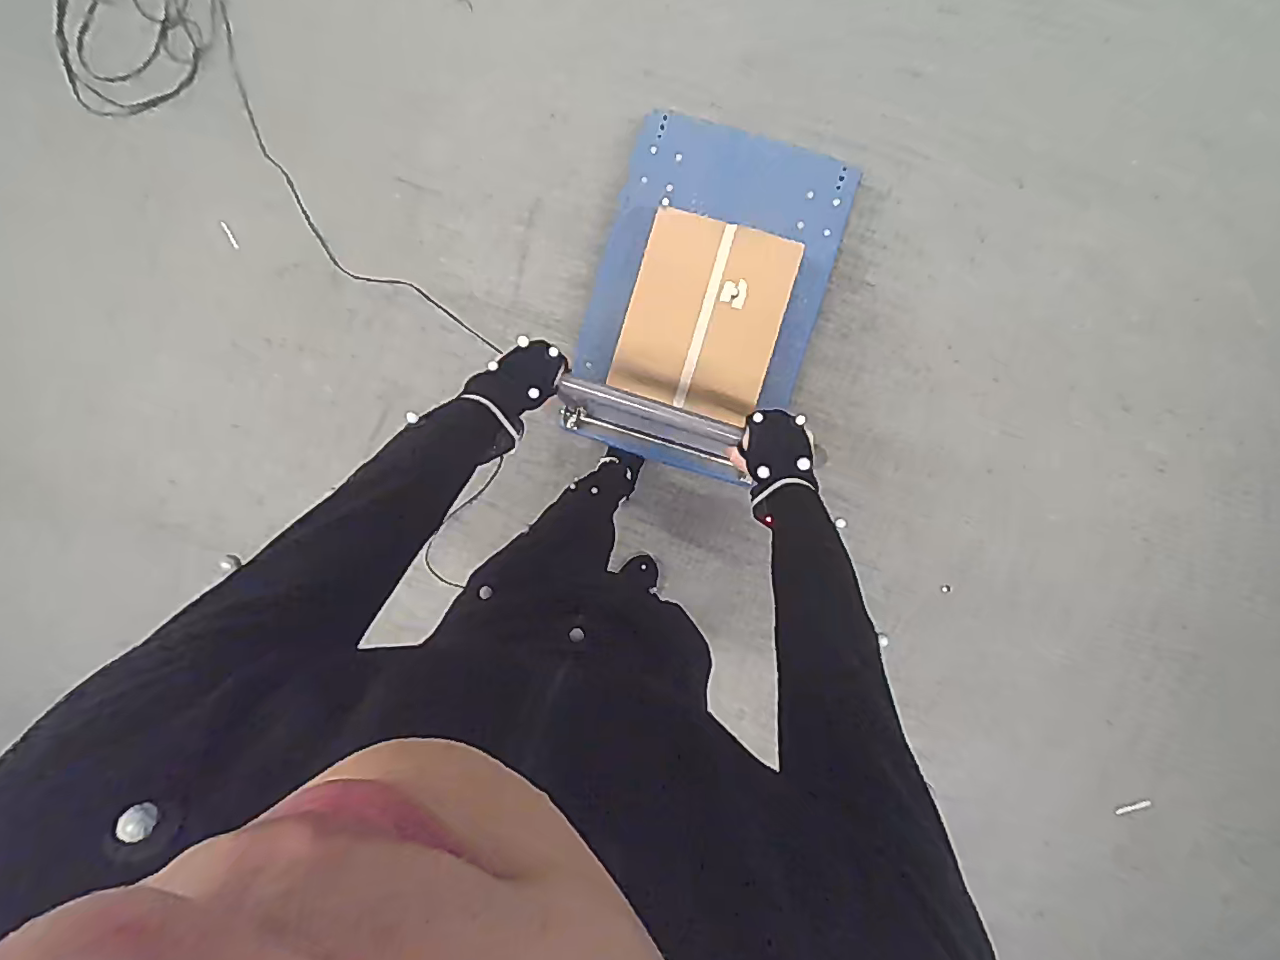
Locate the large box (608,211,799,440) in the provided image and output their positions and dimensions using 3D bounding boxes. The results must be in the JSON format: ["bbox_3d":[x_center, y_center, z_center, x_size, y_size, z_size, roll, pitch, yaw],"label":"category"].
[{"bbox_3d":[0.139,-0.332,1.277,0.320,0.320,0.408,17,91,2],"label":"large box"}]
